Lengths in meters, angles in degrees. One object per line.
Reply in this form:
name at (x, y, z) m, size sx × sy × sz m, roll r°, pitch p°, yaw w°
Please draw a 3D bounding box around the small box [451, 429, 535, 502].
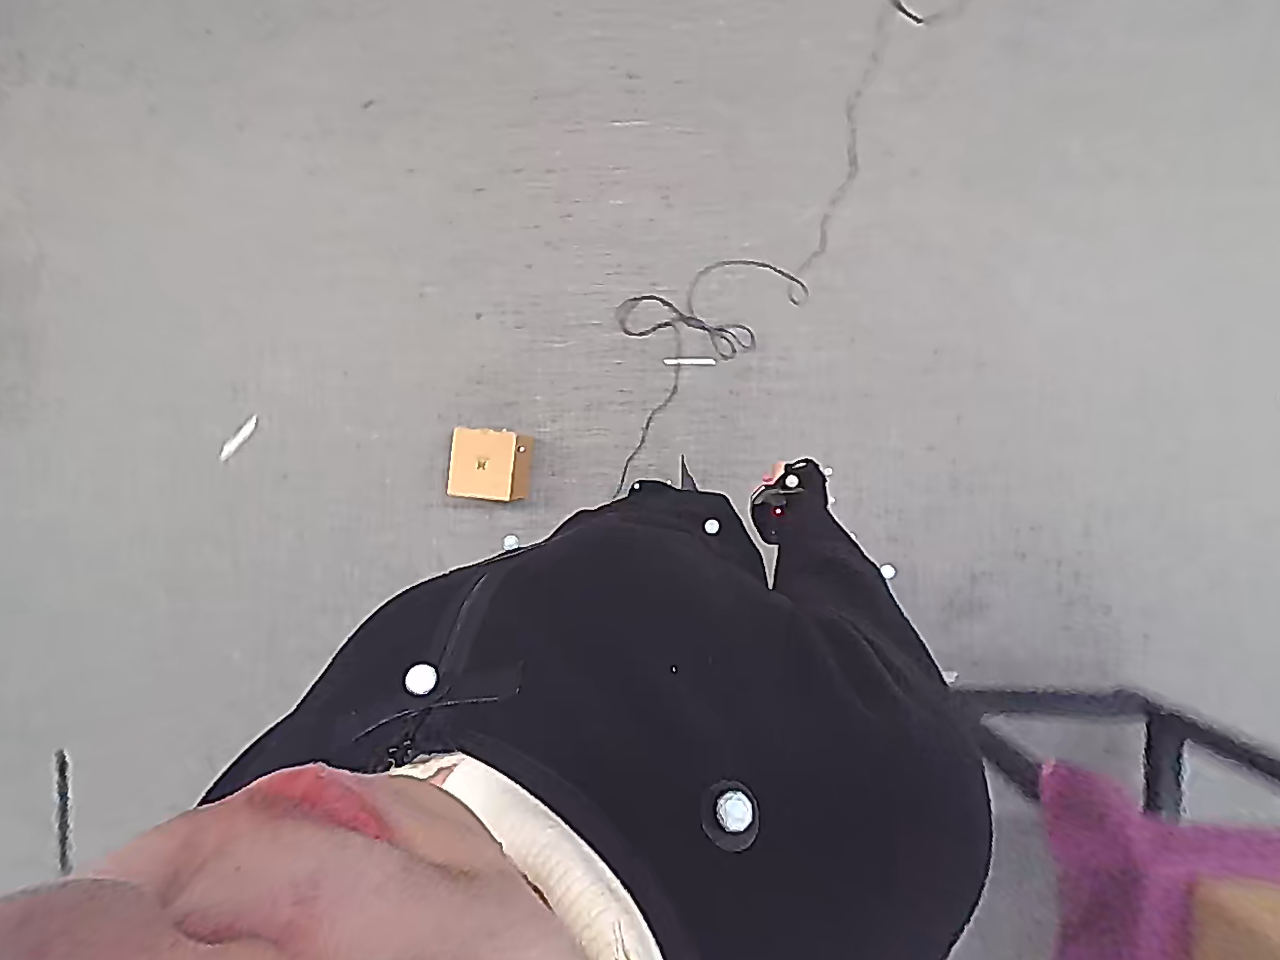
small box at (-0.388, -0.037, 1.453) m, size 0.168 × 0.176 × 0.179 m, roll 5°, pitch 90°, yaw 4°
